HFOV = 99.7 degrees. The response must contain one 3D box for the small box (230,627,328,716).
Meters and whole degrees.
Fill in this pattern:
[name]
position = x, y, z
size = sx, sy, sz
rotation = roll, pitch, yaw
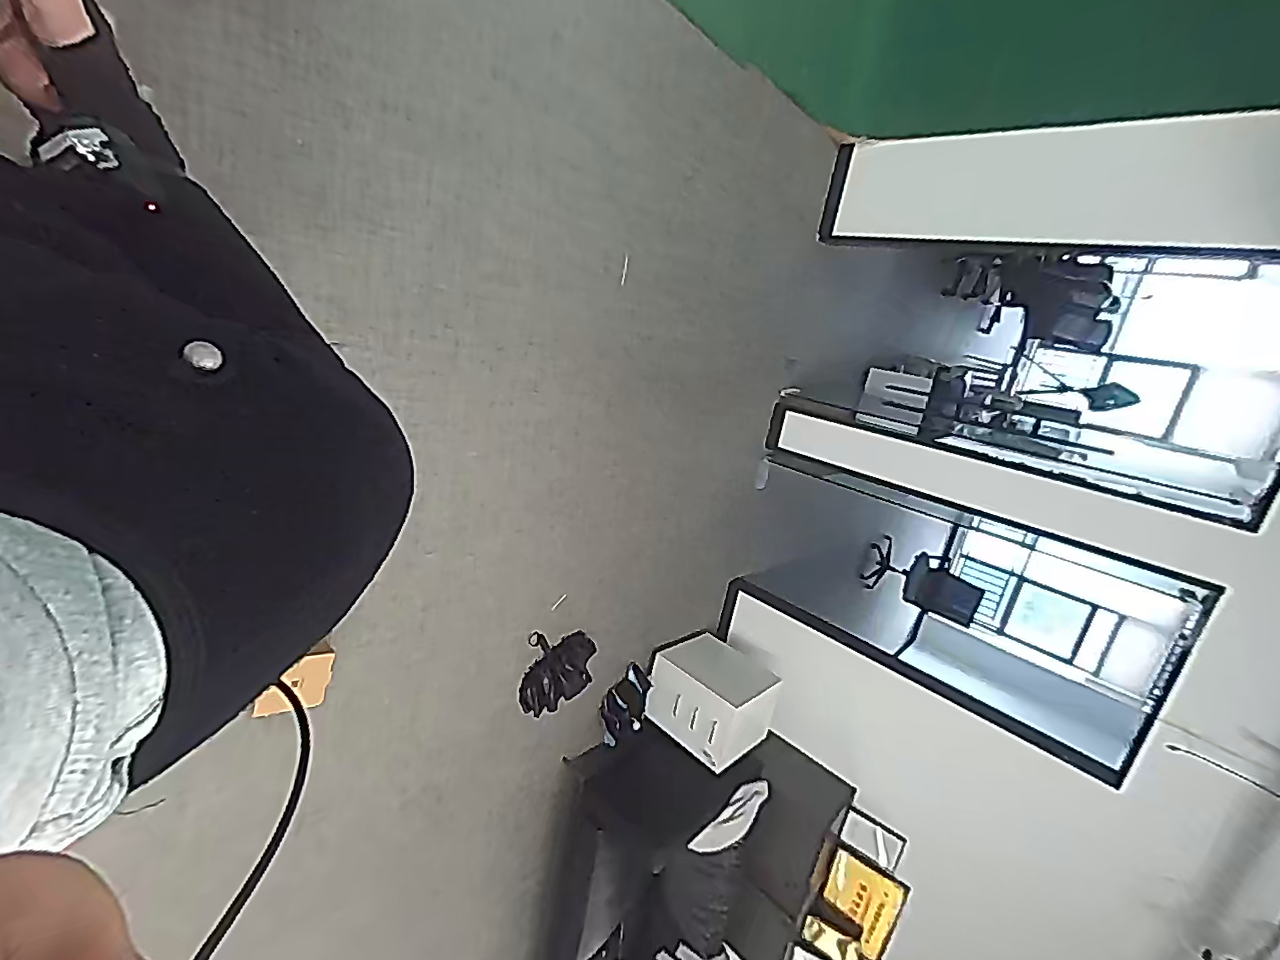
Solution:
[small box]
position = -1.025, 0.533, 1.535
size = 0.179, 0.176, 0.168
rotation = 9, 99, -51
